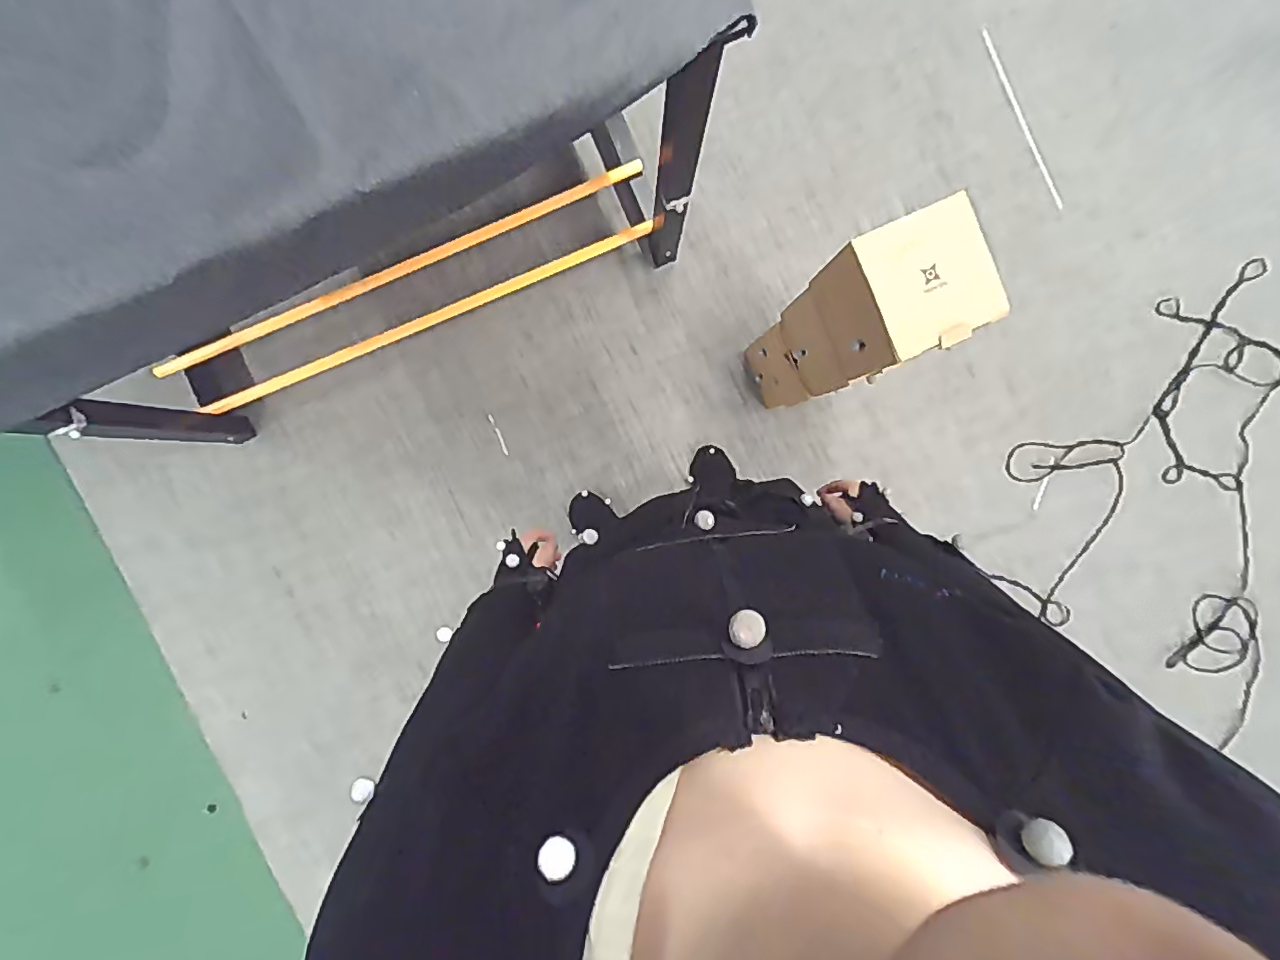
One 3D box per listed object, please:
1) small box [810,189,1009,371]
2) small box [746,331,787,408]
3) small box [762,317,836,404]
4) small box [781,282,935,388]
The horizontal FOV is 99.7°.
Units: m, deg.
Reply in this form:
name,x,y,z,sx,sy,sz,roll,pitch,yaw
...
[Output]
name,x,y,z,sx,sy,sz,roll,pitch,yaw
small box,0.375,-0.271,0.784,0.168,0.176,0.179,-25,91,-1
small box,0.372,-0.282,1.274,0.179,0.176,0.168,-23,91,-2
small box,0.367,-0.269,1.111,0.179,0.176,0.168,-26,92,-1
small box,0.371,-0.271,0.946,0.168,0.176,0.179,-24,93,-2
